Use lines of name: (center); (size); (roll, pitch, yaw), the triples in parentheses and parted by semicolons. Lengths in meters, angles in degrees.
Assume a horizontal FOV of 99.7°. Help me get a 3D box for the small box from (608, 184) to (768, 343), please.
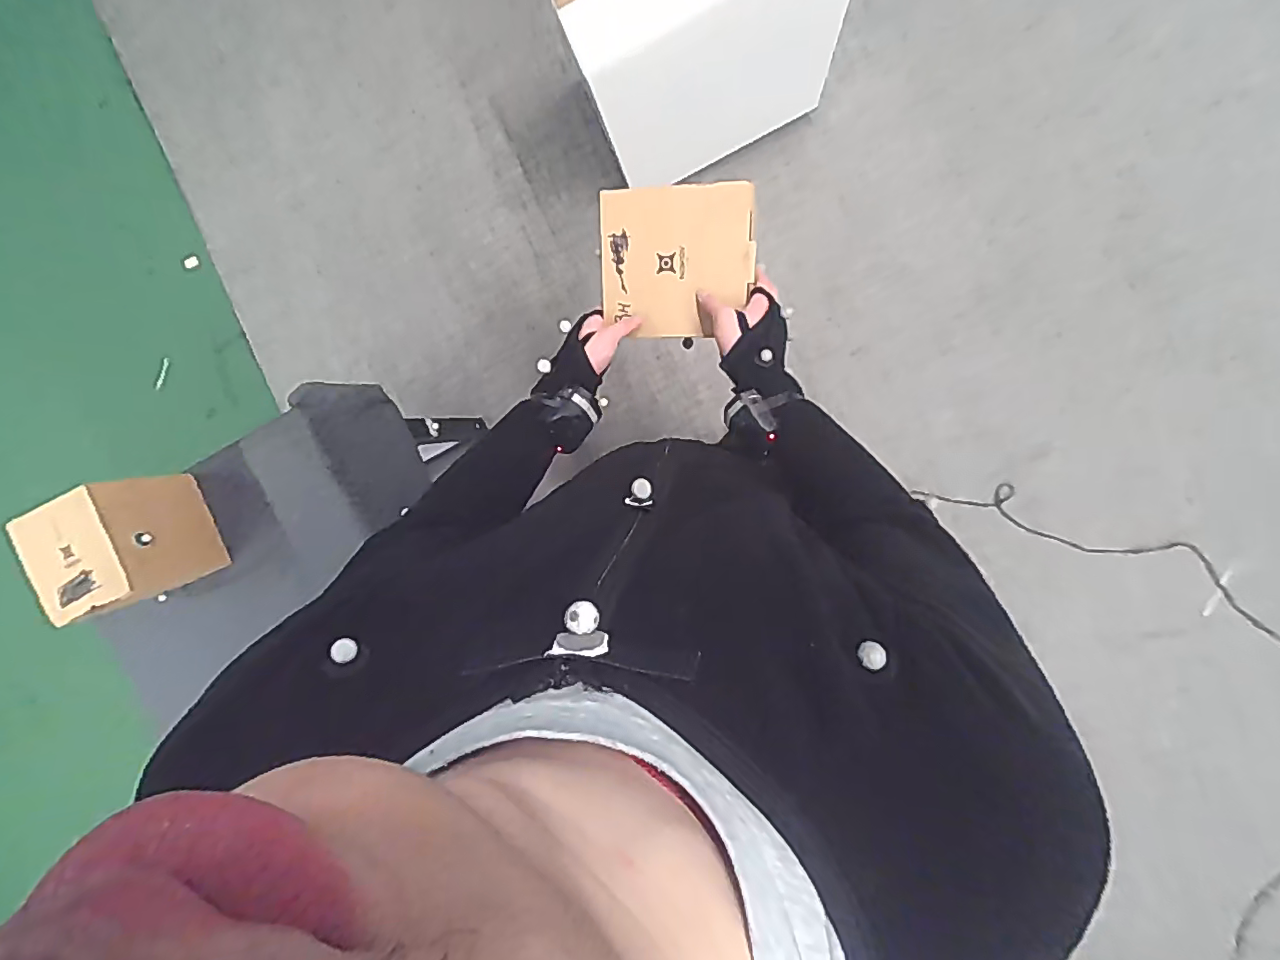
small box: (0.063, -0.261, 0.683); (0.179, 0.176, 0.168); (1, 105, 9)

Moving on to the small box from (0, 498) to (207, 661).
small box: (-0.827, 0.142, 0.830); (0.168, 0.176, 0.179); (-24, 92, 8)
